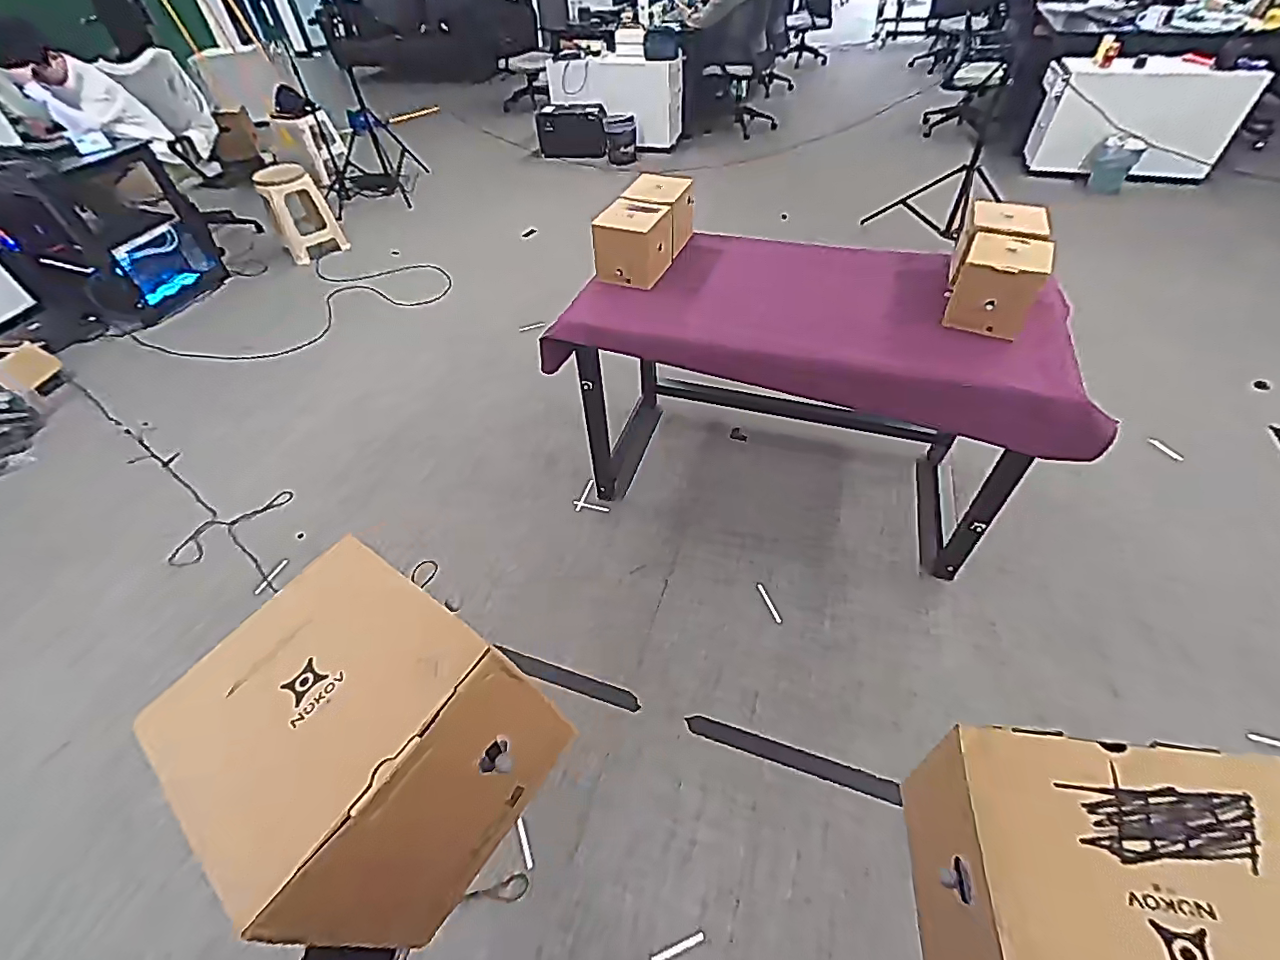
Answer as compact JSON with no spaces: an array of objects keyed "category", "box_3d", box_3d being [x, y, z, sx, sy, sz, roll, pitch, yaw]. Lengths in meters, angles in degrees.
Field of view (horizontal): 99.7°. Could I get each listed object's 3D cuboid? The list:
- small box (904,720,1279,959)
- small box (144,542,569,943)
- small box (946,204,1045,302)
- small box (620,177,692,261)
[{"category":"small box","box_3d":[0.272,0.267,0.323,0.168,0.176,0.179,0,50,12]},{"category":"small box","box_3d":[-0.179,0.180,0.387,0.179,0.176,0.168,22,58,32]},{"category":"small box","box_3d":[0.918,-0.593,1.411,0.168,0.176,0.179,16,50,16]},{"category":"small box","box_3d":[0.051,-0.791,1.641,0.168,0.176,0.179,16,51,17]}]
